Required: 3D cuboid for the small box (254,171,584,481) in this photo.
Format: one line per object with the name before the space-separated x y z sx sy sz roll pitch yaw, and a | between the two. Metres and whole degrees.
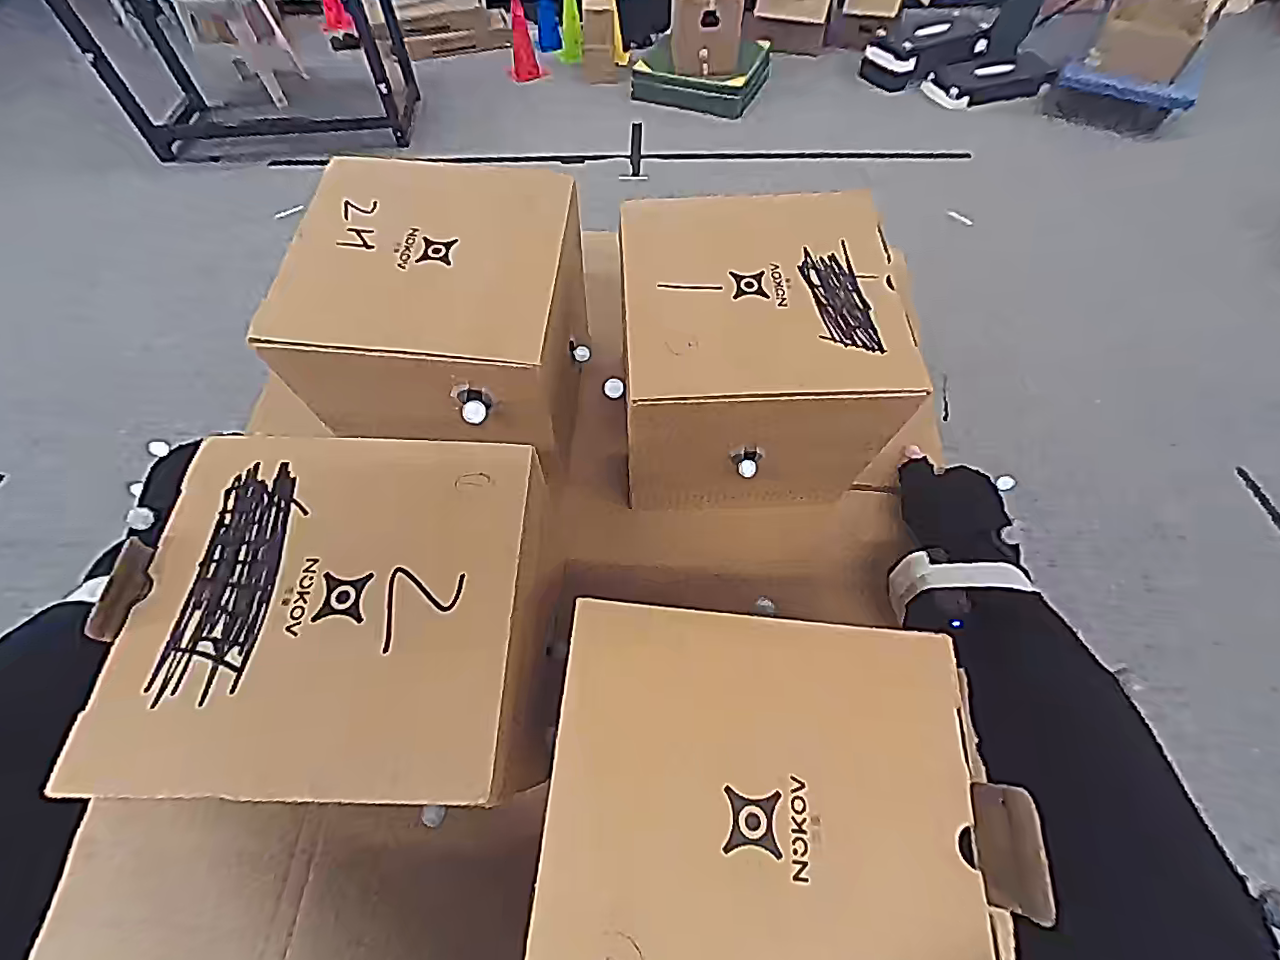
small box | -0.143 -0.109 0.430 0.179 0.176 0.168 5 65 1
